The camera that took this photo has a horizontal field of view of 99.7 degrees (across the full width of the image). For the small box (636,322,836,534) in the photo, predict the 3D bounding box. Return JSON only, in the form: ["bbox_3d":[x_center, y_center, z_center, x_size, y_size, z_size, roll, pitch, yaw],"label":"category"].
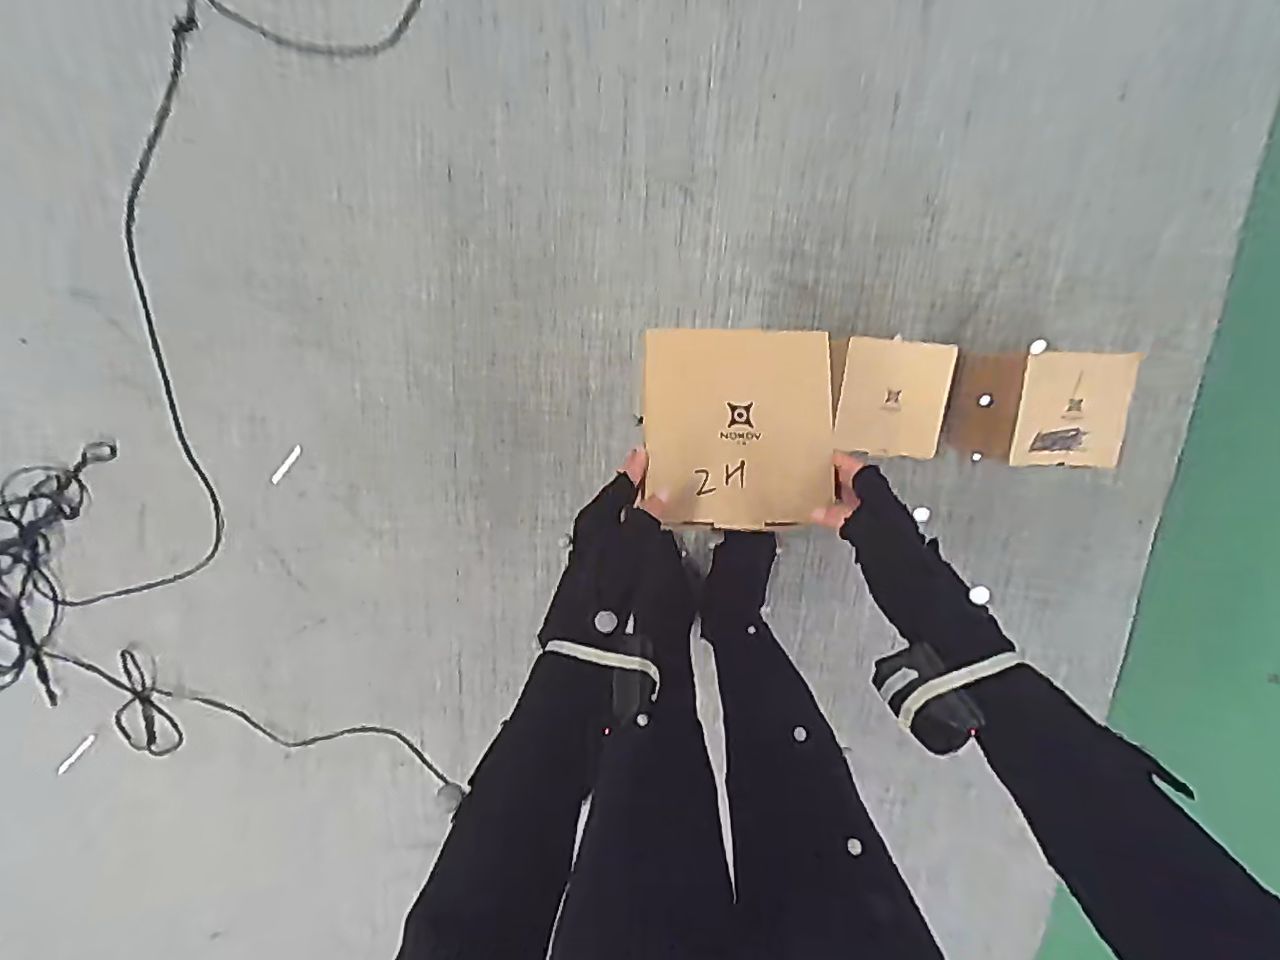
[{"bbox_3d":[0.082,-0.039,0.541,0.168,0.176,0.179,2,83,-2],"label":"small box"}]

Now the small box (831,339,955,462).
[{"bbox_3d":[0.385,-0.136,0.904,0.168,0.176,0.179,5,103,1],"label":"small box"}]

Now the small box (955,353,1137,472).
[{"bbox_3d":[0.654,-0.118,0.897,0.168,0.176,0.179,2,102,2],"label":"small box"}]
